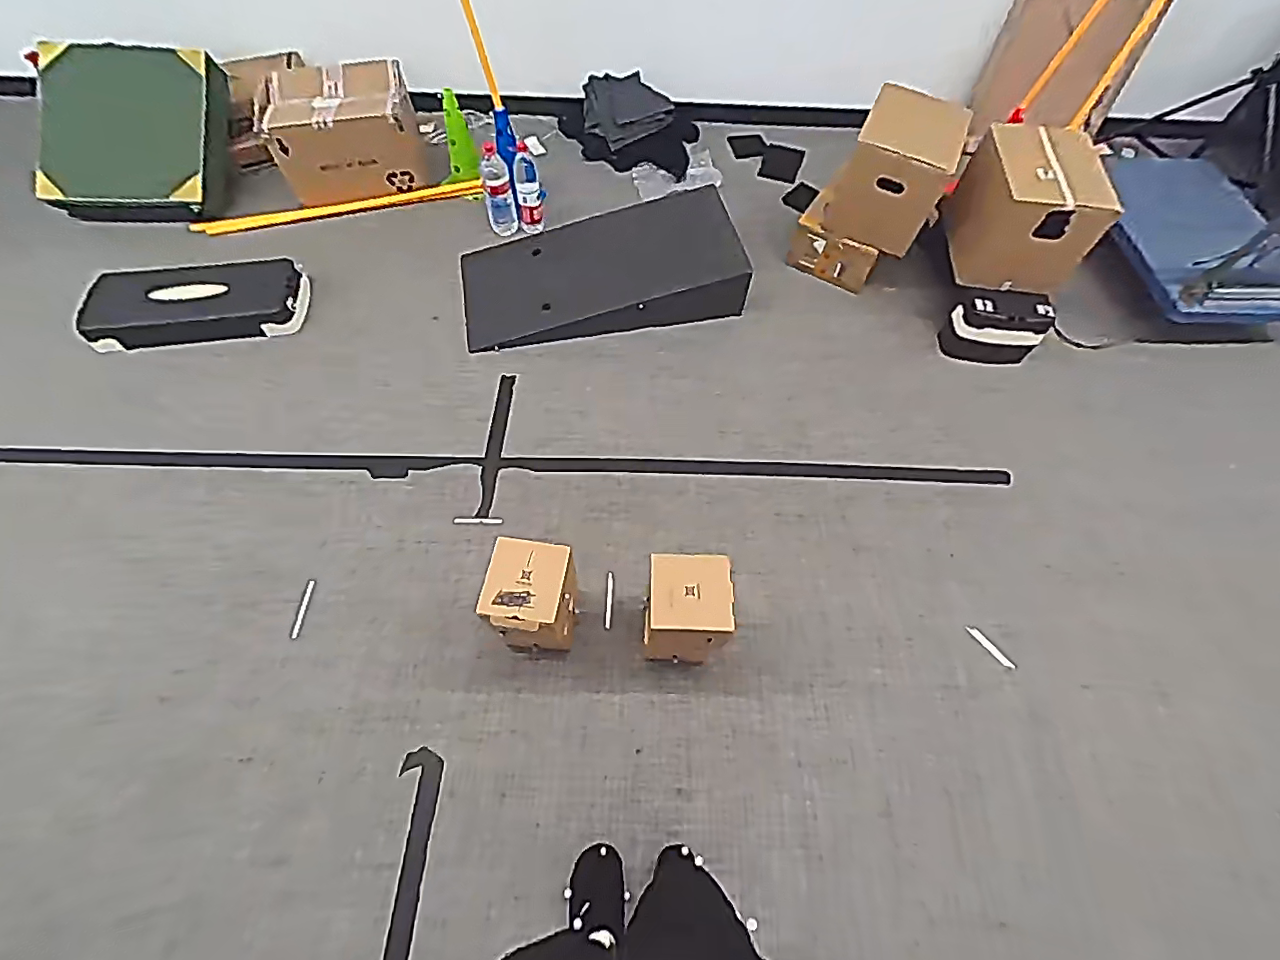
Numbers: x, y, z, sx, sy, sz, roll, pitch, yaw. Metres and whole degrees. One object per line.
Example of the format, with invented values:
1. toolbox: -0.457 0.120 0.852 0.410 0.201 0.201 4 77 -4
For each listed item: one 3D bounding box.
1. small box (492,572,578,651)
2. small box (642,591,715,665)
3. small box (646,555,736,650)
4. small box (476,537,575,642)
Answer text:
1. small box: -0.252 0.324 1.348 0.179 0.176 0.168 5 61 -1
2. small box: 0.095 0.350 1.347 0.168 0.176 0.179 4 61 1
3. small box: 0.108 0.277 1.202 0.179 0.176 0.168 2 60 0
4. small box: -0.242 0.249 1.201 0.168 0.176 0.179 8 61 2
